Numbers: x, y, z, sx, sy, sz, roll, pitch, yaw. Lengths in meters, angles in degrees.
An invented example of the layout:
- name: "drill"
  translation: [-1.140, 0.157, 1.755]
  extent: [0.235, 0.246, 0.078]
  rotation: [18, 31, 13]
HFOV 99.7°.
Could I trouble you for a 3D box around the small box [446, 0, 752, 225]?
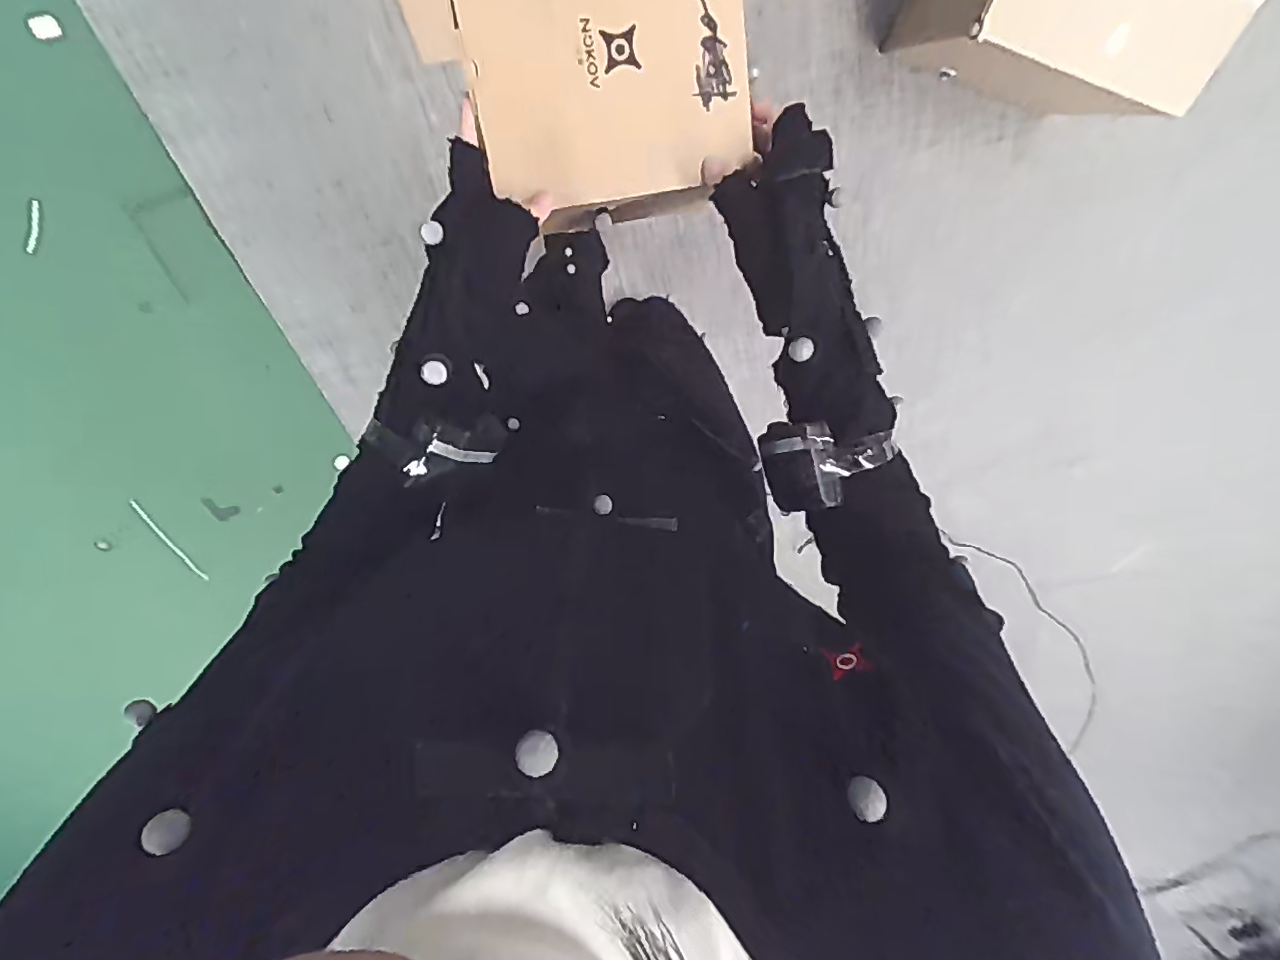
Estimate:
- name: "small box"
  translation: [-0.031, -0.304, 0.408]
  extent: [0.179, 0.176, 0.168]
  rotation: [-13, 109, -1]
